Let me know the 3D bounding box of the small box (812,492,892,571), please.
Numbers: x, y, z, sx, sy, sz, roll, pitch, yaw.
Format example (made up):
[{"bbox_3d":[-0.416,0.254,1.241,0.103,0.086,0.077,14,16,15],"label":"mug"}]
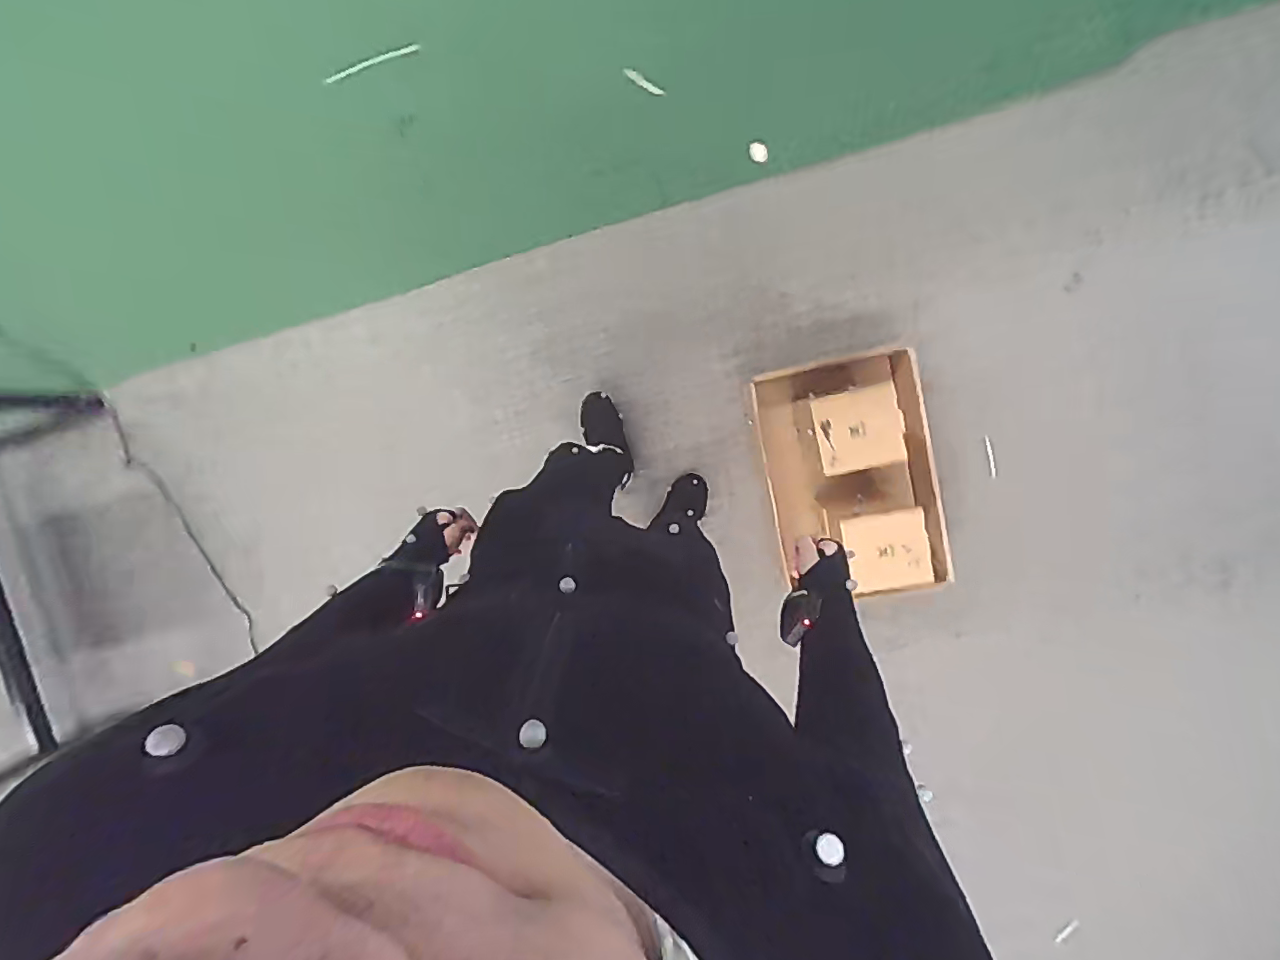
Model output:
[{"bbox_3d":[0.555,0.130,1.417,0.179,0.176,0.168,-10,94,9],"label":"small box"}]

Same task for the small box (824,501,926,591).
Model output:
[{"bbox_3d":[0.535,0.148,1.254,0.179,0.176,0.168,-9,94,9],"label":"small box"}]

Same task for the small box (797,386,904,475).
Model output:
[{"bbox_3d":[0.471,-0.115,1.230,0.179,0.176,0.168,-12,95,9],"label":"small box"}]
